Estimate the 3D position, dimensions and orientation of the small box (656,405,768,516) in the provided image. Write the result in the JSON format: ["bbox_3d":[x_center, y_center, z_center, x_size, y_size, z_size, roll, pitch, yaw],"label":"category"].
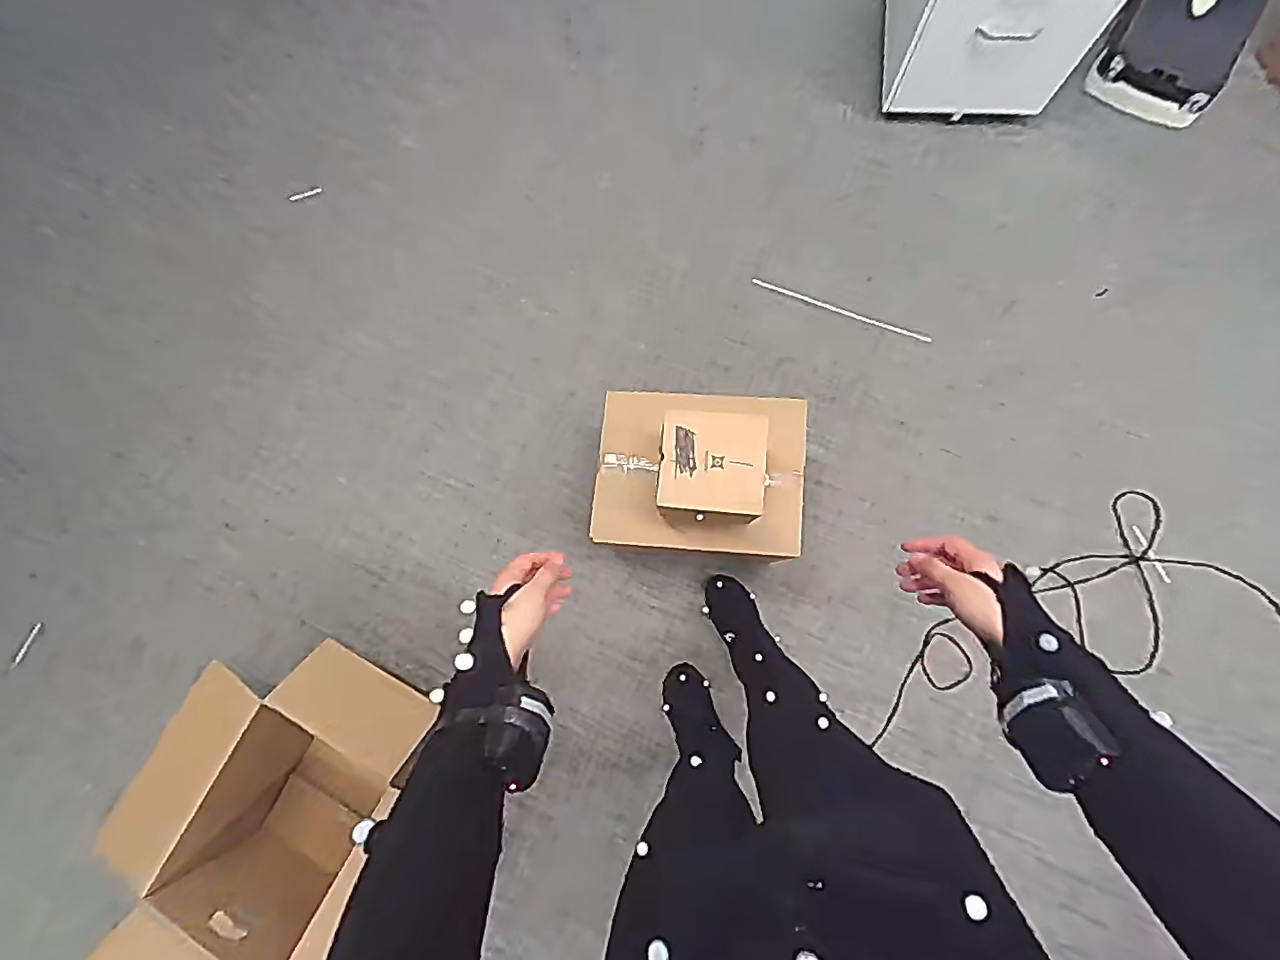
[{"bbox_3d":[0.127,-0.028,0.973,0.179,0.176,0.168,5,82,6],"label":"small box"}]
